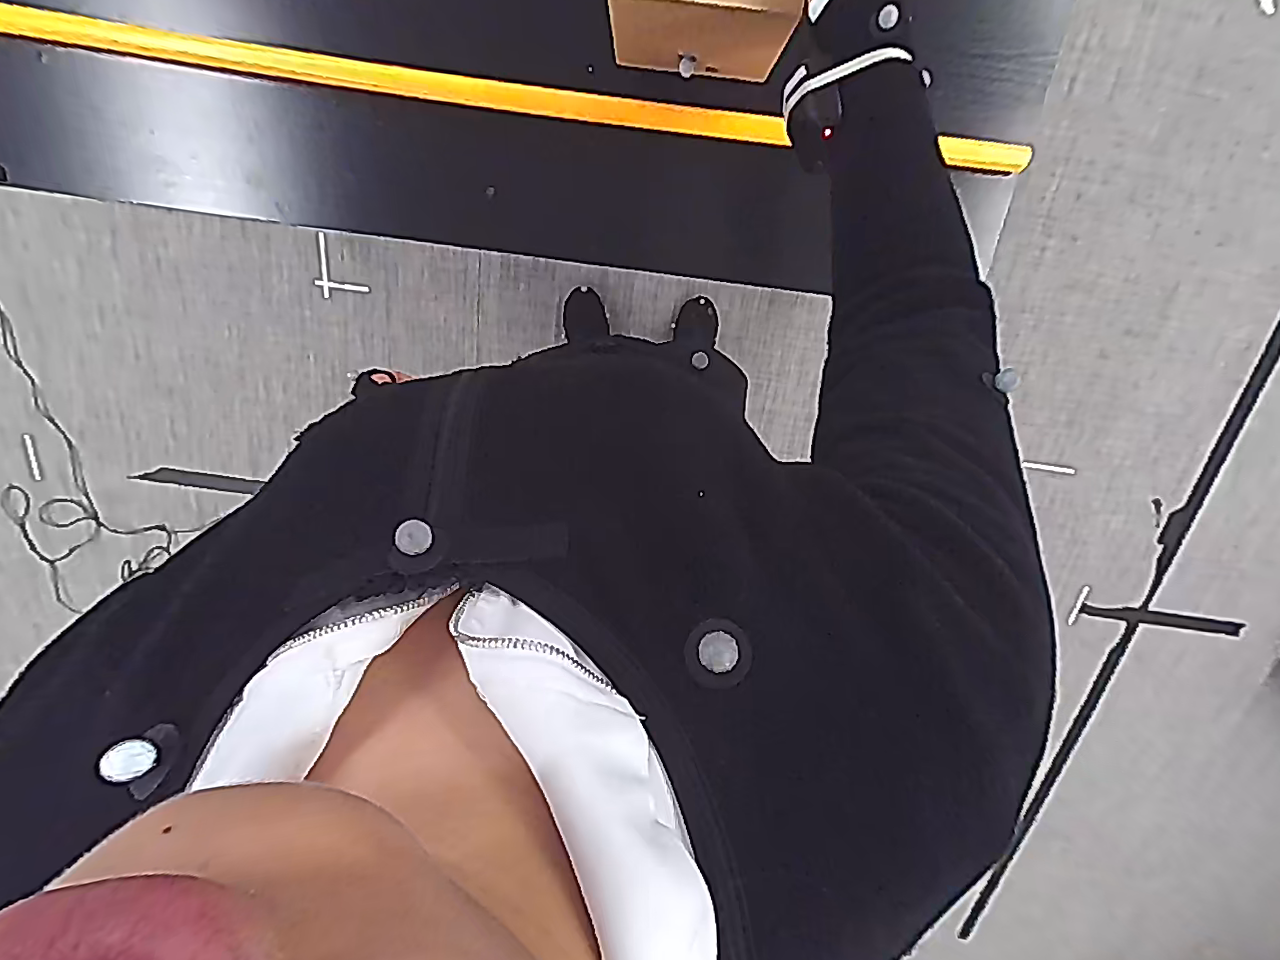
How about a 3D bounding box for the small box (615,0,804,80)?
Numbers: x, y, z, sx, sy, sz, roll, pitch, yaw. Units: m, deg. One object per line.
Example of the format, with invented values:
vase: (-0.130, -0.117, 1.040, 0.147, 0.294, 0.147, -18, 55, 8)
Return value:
small box: (0.065, -0.505, 0.494, 0.168, 0.176, 0.179, 6, 111, -1)
